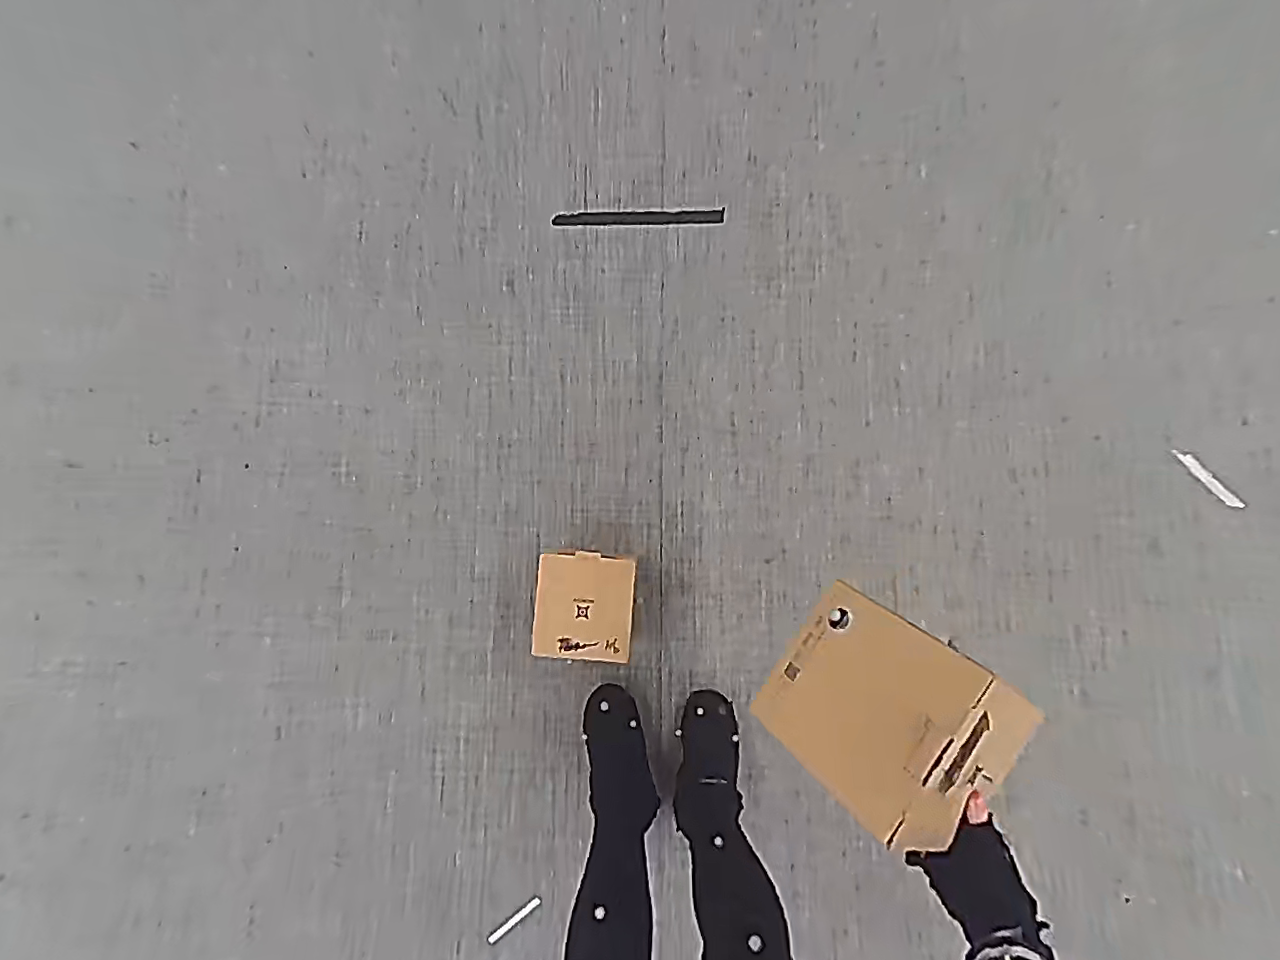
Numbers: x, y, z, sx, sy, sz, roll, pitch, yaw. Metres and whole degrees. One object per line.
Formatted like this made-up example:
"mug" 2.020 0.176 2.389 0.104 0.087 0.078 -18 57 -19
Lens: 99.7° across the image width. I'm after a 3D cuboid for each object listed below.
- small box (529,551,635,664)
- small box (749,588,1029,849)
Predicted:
"small box" -0.098 0.224 0.990 0.168 0.176 0.179 5 84 1
"small box" 0.246 0.233 0.551 0.179 0.176 0.168 33 90 -37
